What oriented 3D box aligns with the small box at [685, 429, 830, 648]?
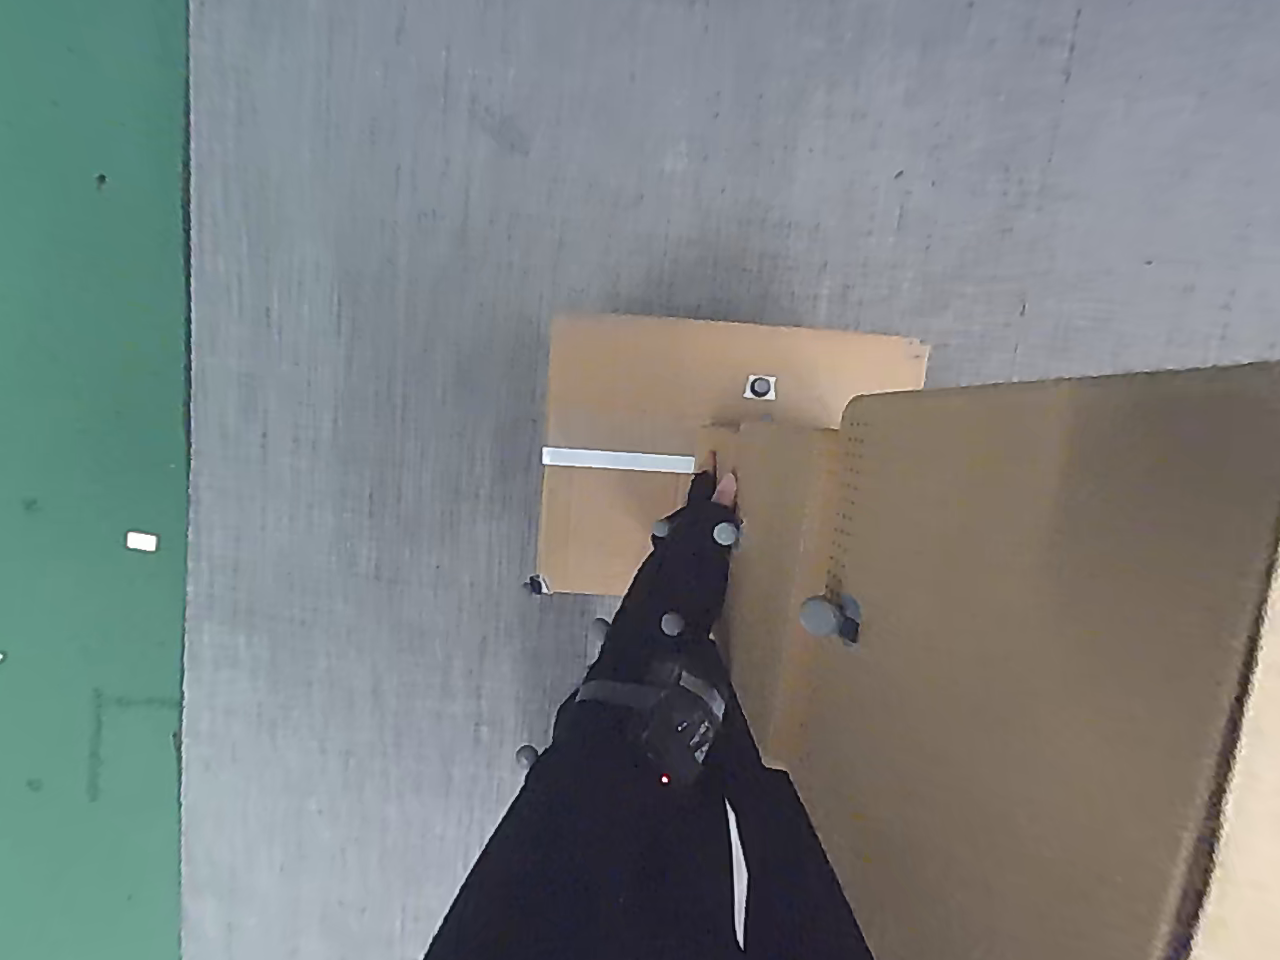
[{"bbox_3d":[0.141,0.044,0.499,0.179,0.176,0.168,5,98,-3],"label":"small box"}]
